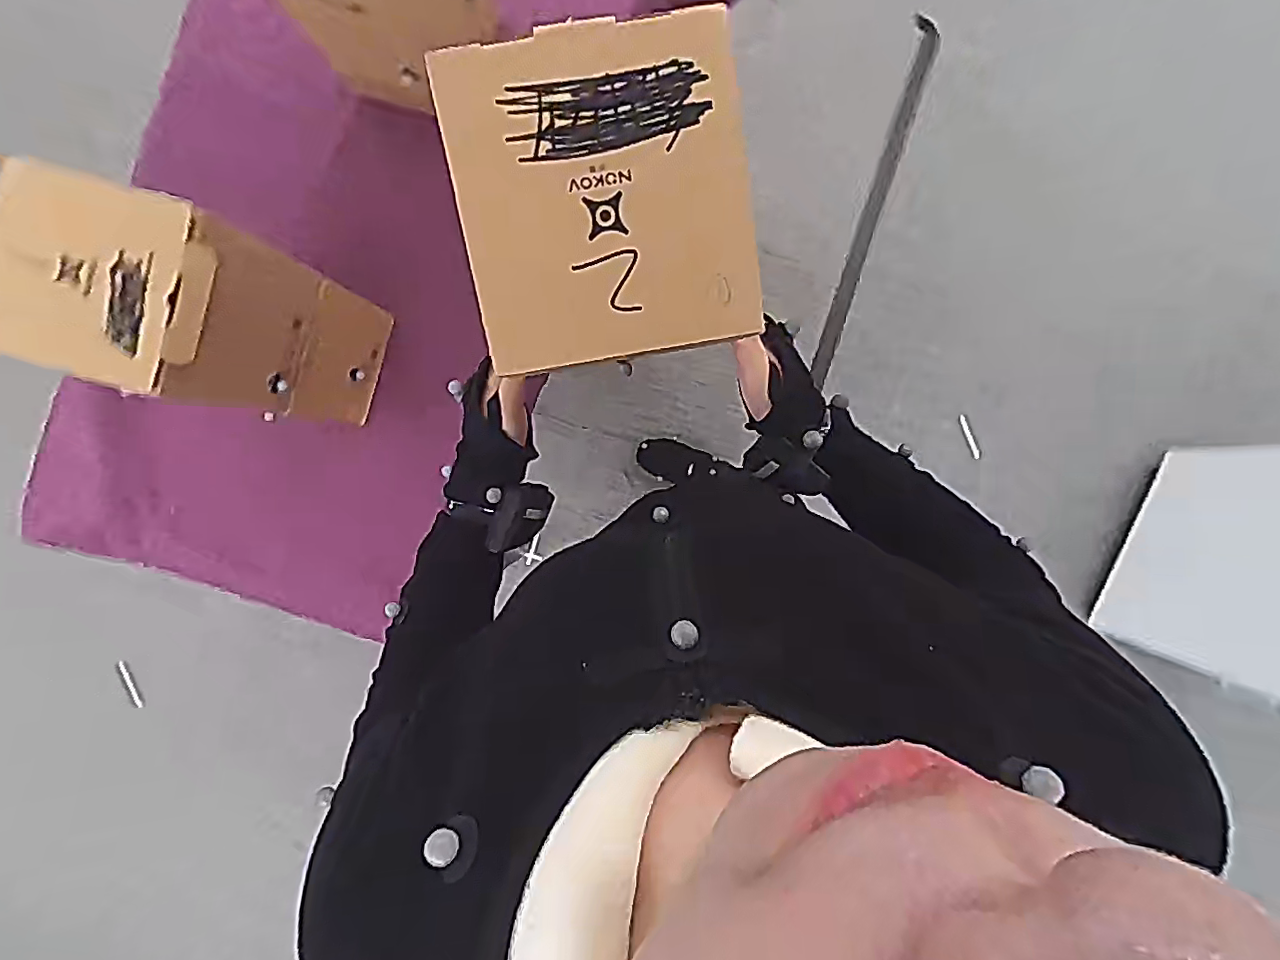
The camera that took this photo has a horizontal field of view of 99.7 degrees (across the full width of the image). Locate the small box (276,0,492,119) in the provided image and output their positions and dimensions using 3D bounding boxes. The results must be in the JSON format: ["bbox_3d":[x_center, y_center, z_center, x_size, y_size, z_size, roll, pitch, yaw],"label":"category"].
[{"bbox_3d":[-0.307,-0.599,0.681,0.179,0.176,0.168,17,92,1],"label":"small box"}]

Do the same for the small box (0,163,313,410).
[{"bbox_3d":[-0.469,-0.172,0.539,0.179,0.176,0.168,15,92,1],"label":"small box"}]

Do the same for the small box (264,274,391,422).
[{"bbox_3d":[-0.463,-0.178,0.703,0.179,0.176,0.168,16,92,0],"label":"small box"}]
